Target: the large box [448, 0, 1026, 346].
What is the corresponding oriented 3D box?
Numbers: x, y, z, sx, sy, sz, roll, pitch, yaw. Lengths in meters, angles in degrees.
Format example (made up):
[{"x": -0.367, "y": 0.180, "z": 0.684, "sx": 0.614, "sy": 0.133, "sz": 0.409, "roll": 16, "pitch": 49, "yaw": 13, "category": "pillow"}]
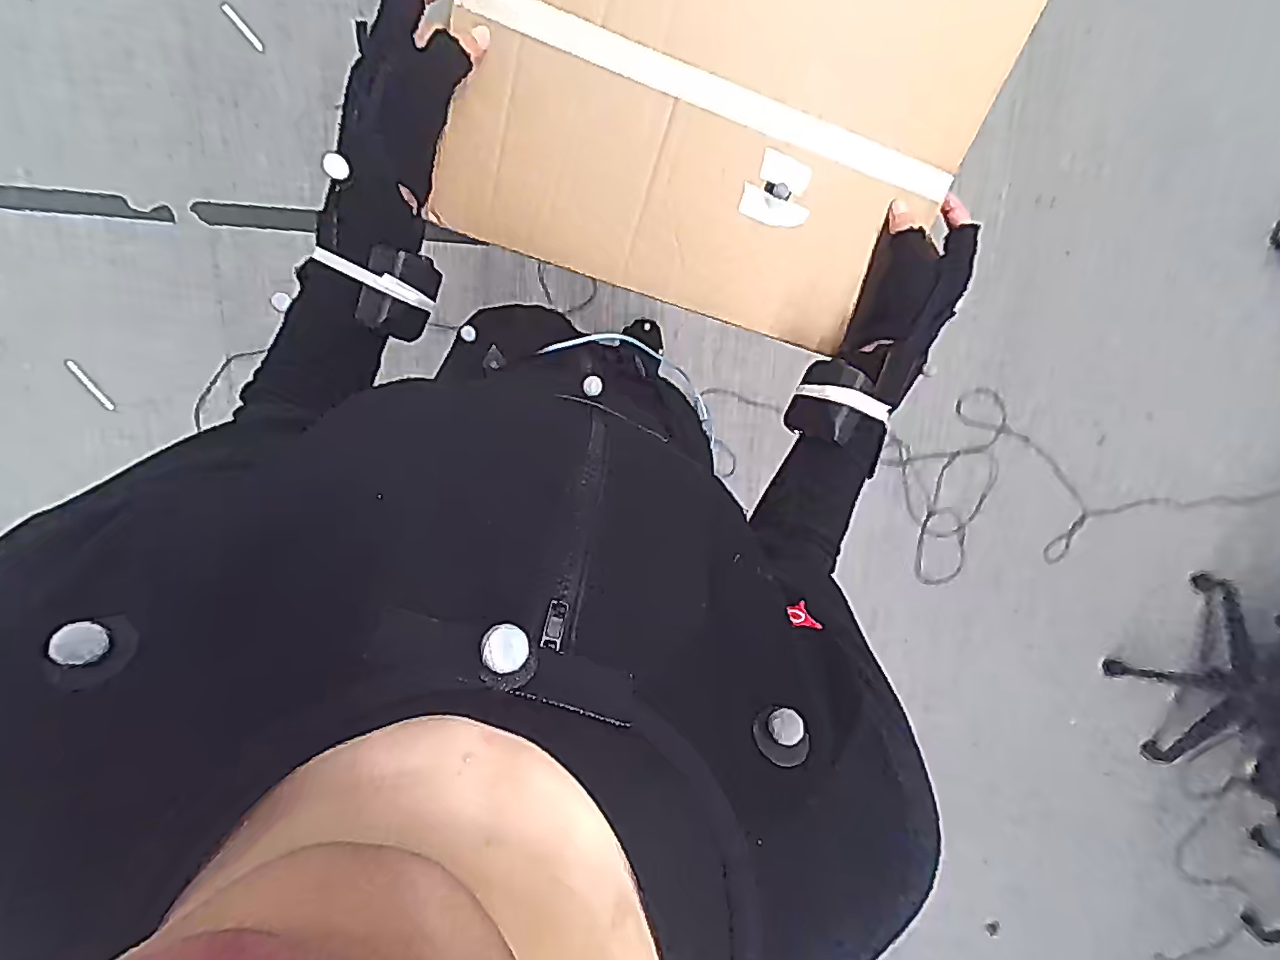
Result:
[{"x": 0.057, "y": -0.377, "z": 0.558, "sx": 0.408, "sy": 0.320, "sz": 0.320, "roll": 14, "pitch": 119, "yaw": -12, "category": "large box"}]
